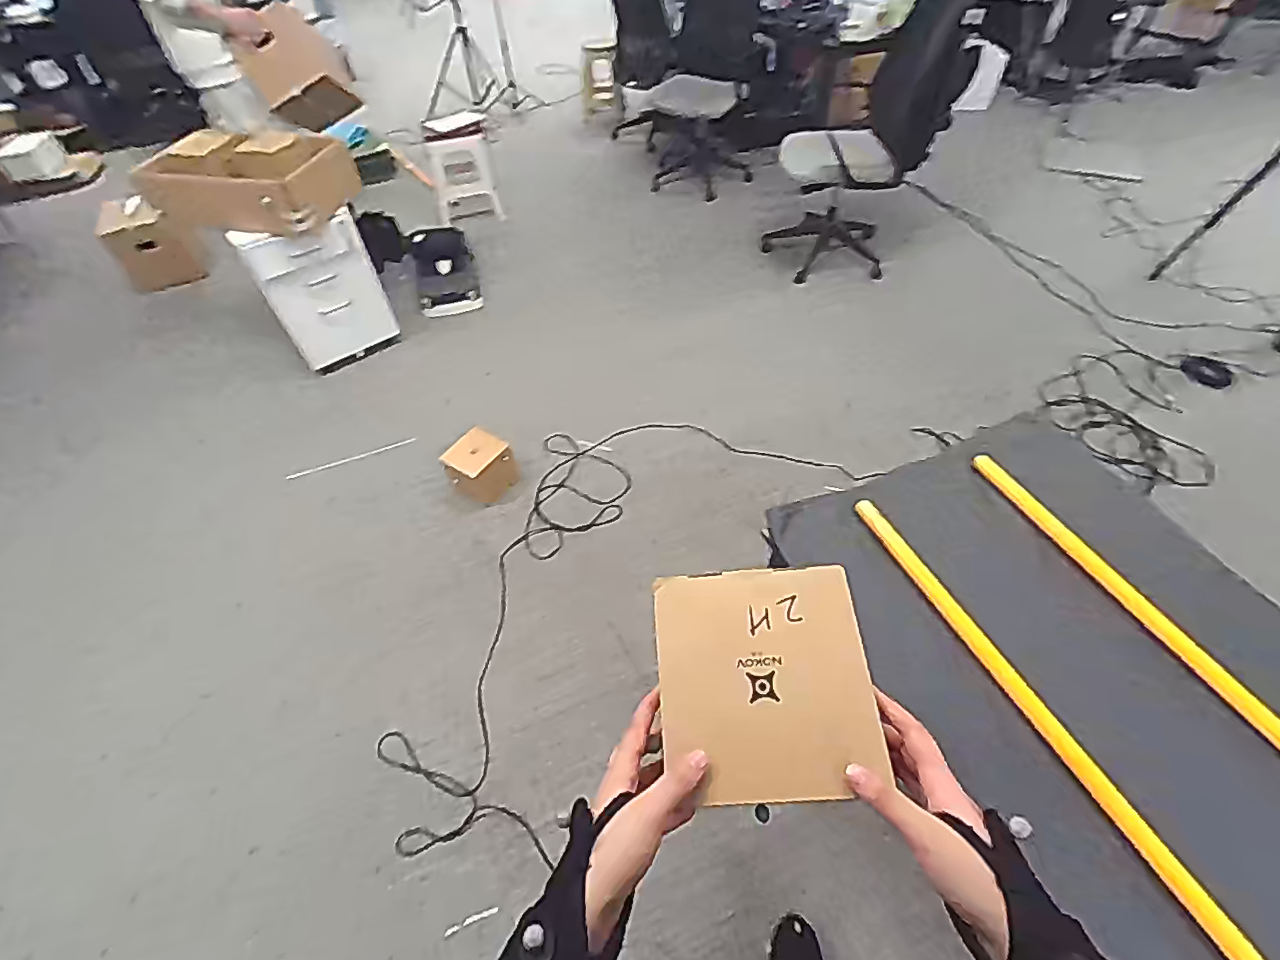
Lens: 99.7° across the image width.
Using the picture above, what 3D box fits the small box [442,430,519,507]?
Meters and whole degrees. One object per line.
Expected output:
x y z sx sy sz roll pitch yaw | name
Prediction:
-0.544 -0.037 1.875 0.168 0.176 0.179 25 55 22 | small box
